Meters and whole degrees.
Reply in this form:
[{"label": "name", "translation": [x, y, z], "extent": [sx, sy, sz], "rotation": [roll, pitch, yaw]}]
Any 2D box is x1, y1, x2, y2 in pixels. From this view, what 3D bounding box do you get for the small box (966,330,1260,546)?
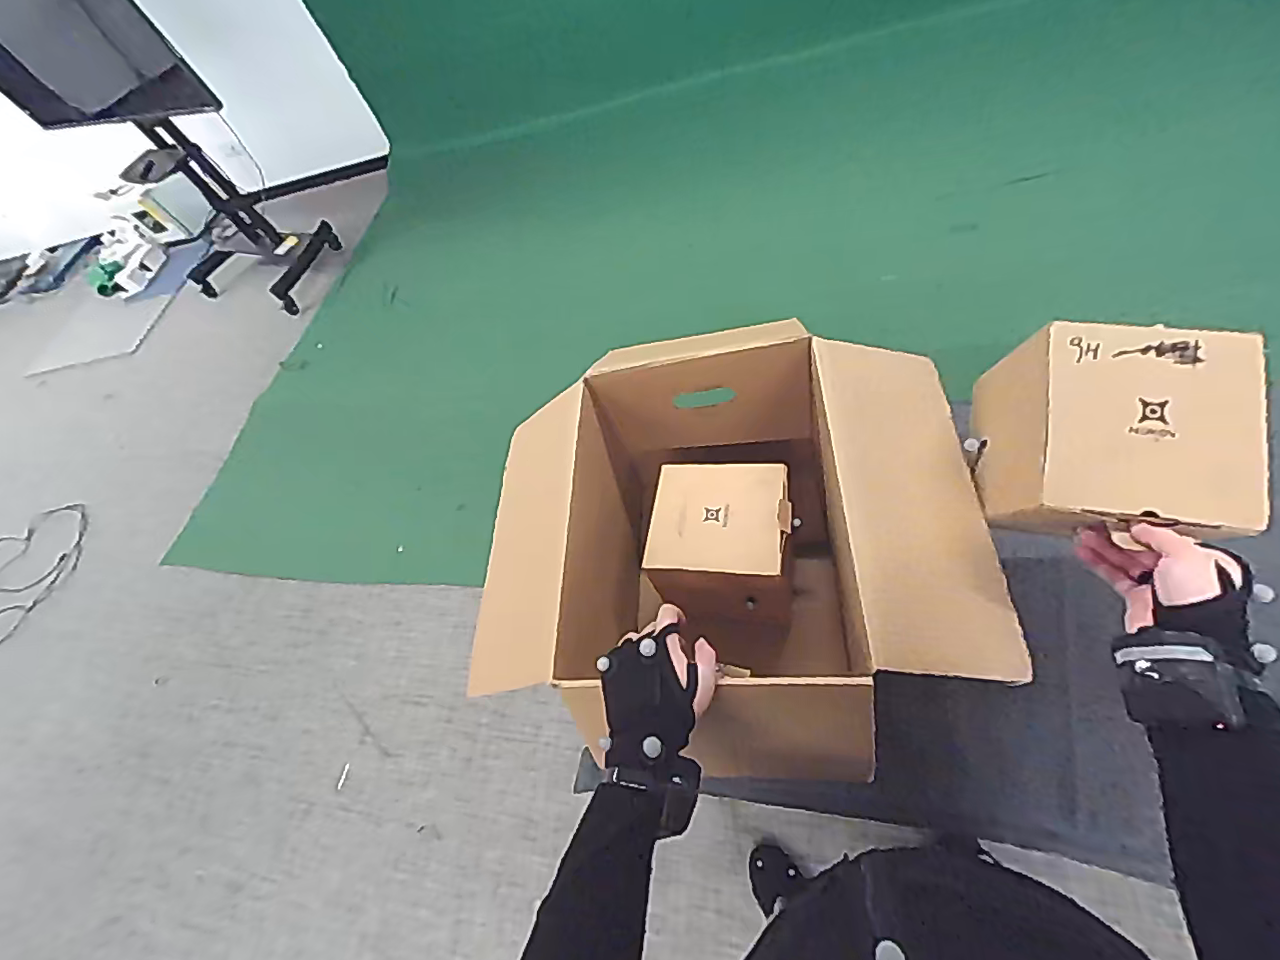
[{"label": "small box", "translation": [0.461, -0.031, 0.556], "extent": [0.168, 0.176, 0.179], "rotation": [9, 81, 10]}]
